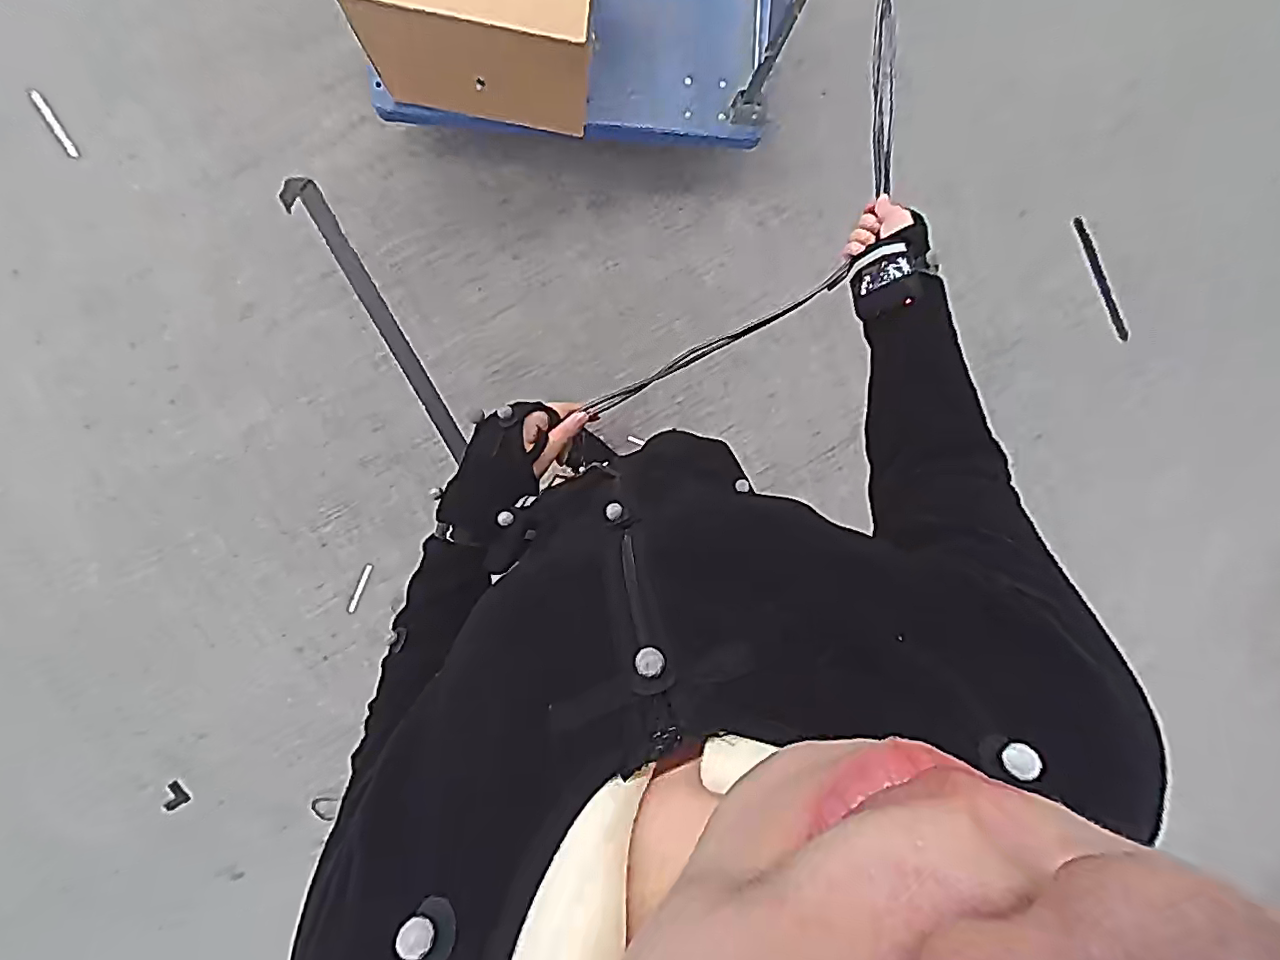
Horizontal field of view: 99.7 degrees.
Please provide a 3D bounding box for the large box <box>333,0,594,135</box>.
[{"bbox_3d":[-0.289,-0.903,1.004,0.408,0.320,0.320,6,95,-7],"label":"large box"}]
